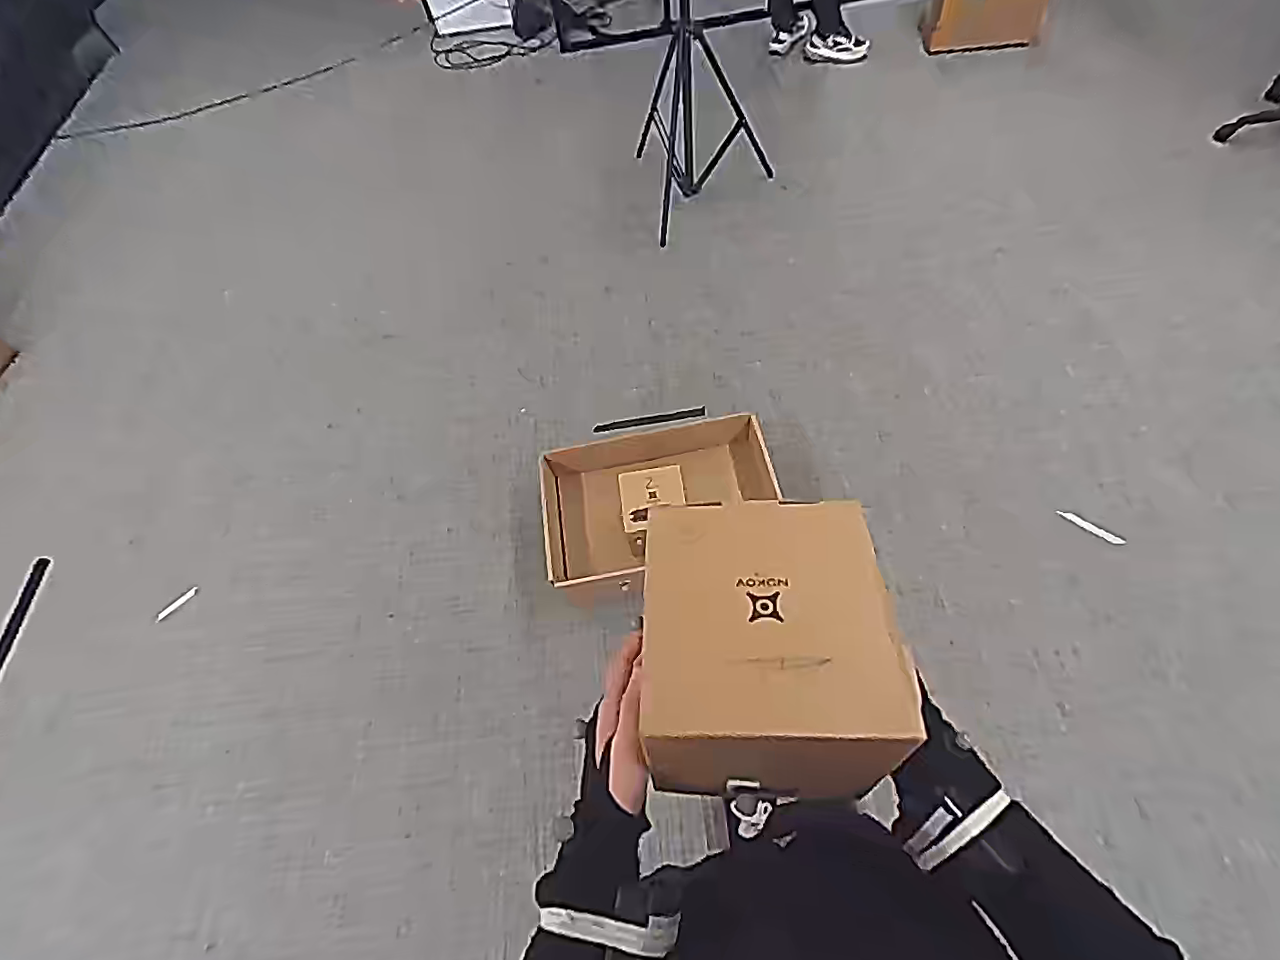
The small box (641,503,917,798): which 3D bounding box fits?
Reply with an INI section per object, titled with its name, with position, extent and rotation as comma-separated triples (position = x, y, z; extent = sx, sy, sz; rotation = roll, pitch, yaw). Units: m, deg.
[small box]
position = 0.090, 0.138, 0.435
extent = 0.168, 0.176, 0.179
rotation = -2, 50, 5
